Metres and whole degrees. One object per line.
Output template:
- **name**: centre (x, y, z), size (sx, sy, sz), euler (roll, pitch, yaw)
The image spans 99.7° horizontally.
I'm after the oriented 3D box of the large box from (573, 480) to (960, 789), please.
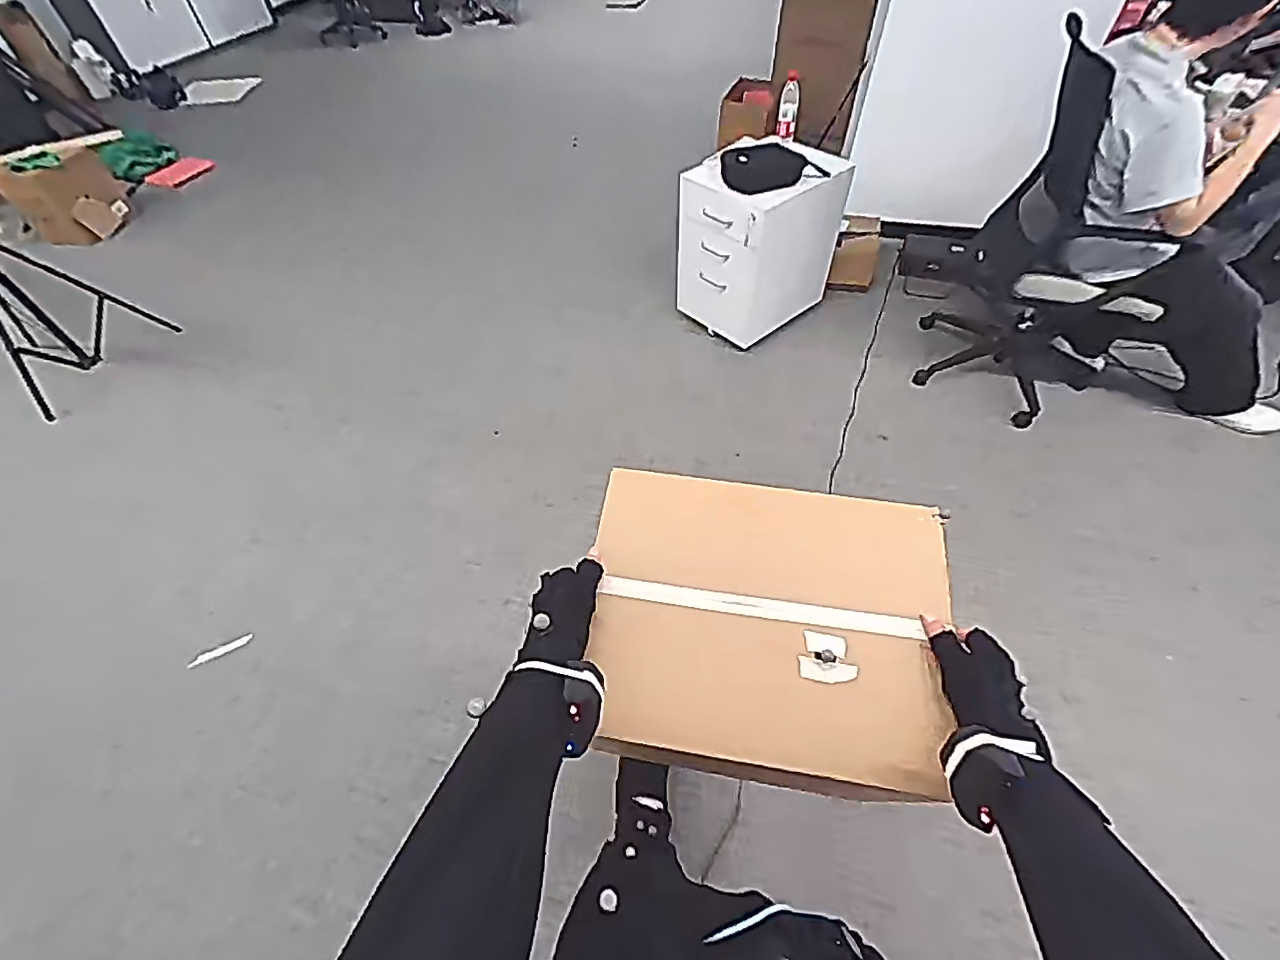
- **large box**: centre (0.146, 0.225, 0.754), size (0.408, 0.320, 0.320), euler (7, 61, 6)
